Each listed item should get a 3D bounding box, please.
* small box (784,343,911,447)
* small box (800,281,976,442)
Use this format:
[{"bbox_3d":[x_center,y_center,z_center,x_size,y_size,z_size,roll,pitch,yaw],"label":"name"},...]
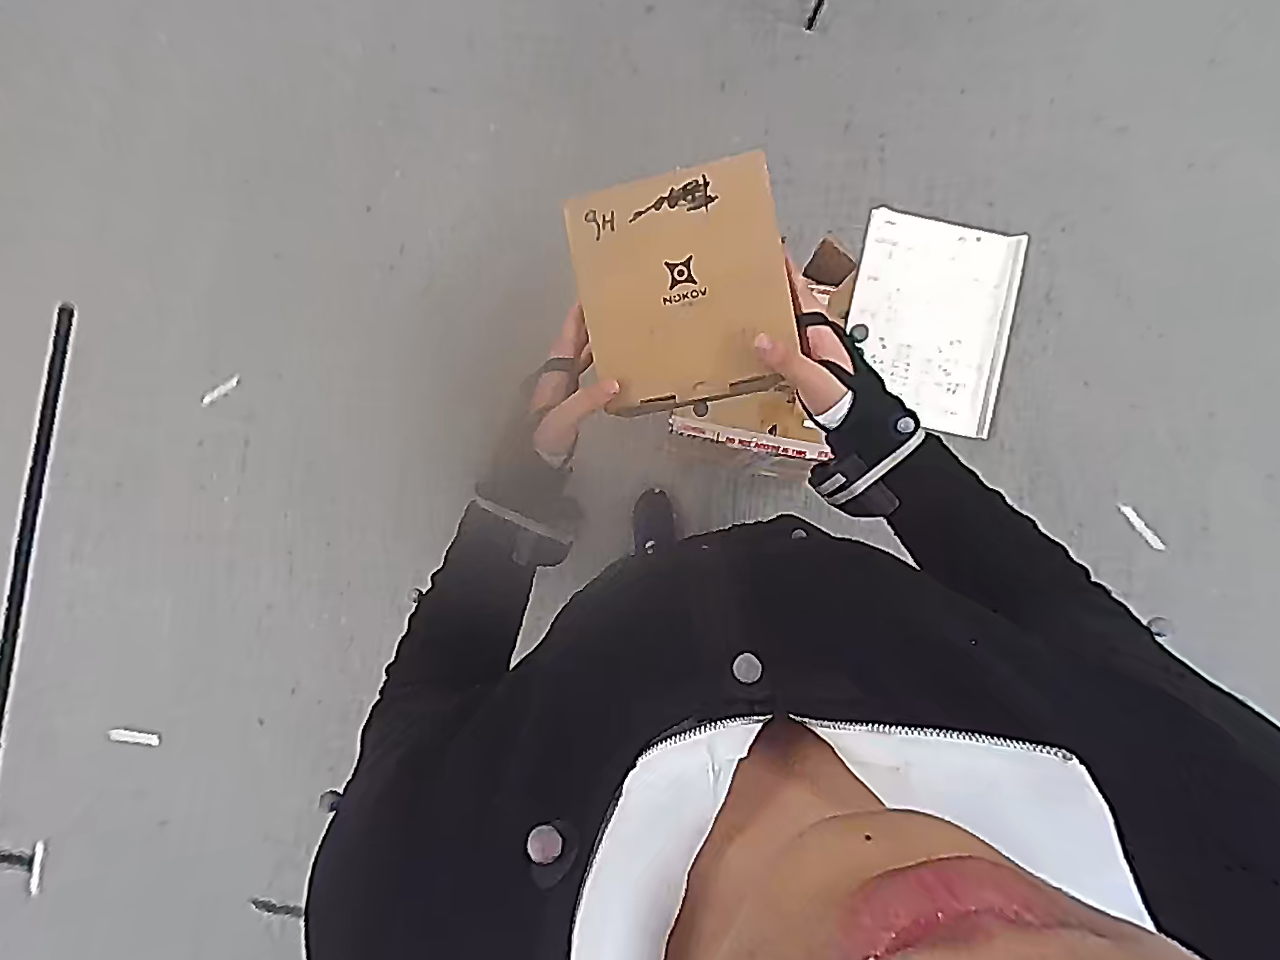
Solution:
[{"bbox_3d":[0.374,-0.156,0.965,0.179,0.176,0.168,9,88,1],"label":"small box"},{"bbox_3d":[0.353,-0.163,0.801,0.168,0.176,0.179,13,89,0],"label":"small box"}]
